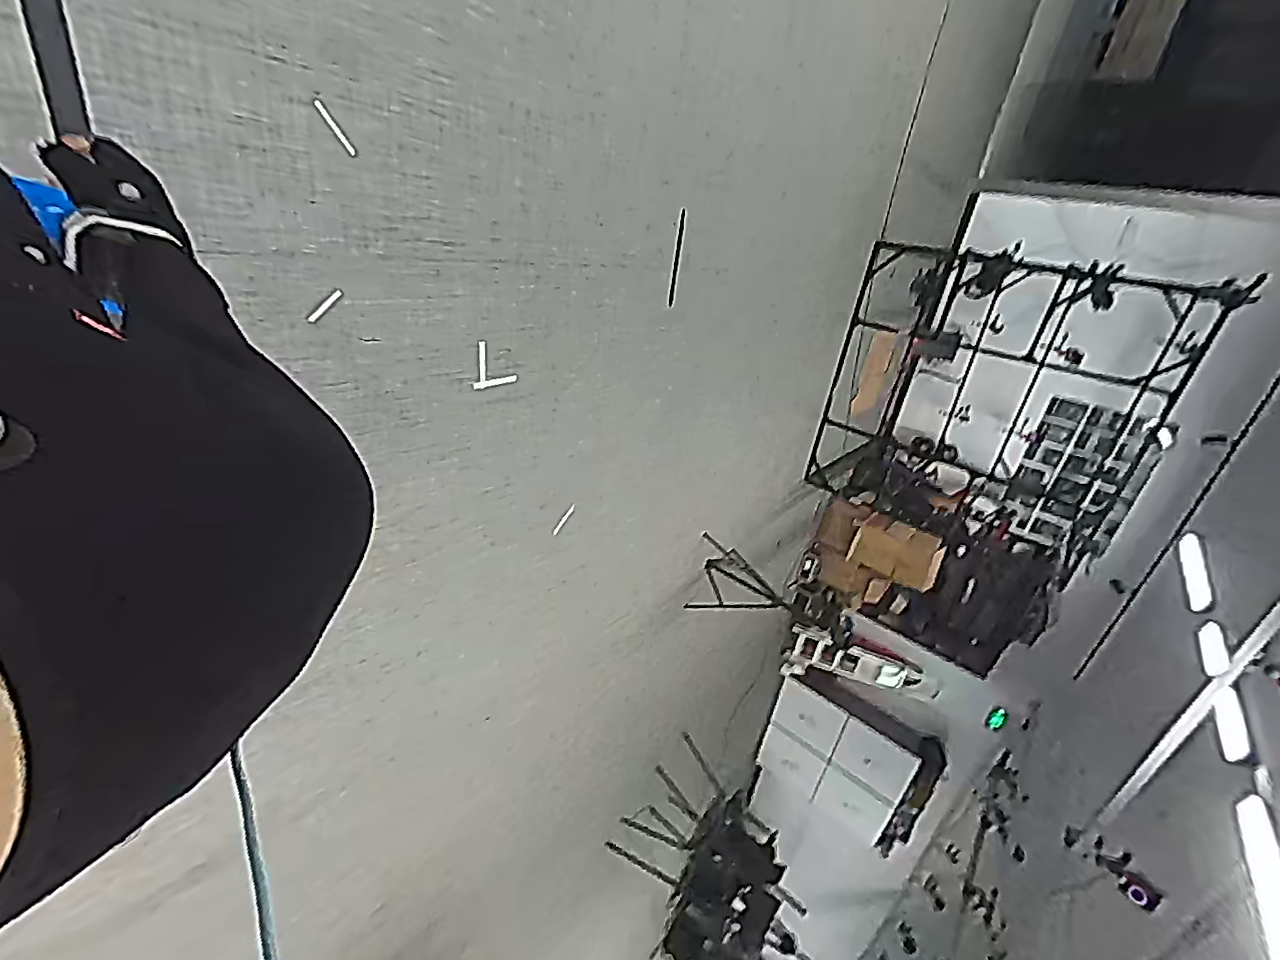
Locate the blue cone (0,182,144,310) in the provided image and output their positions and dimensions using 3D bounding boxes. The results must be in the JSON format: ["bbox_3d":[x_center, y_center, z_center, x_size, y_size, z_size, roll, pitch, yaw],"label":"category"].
[{"bbox_3d":[-0.920,-0.357,0.901,0.192,0.380,0.193,0,112,-56],"label":"blue cone"}]
